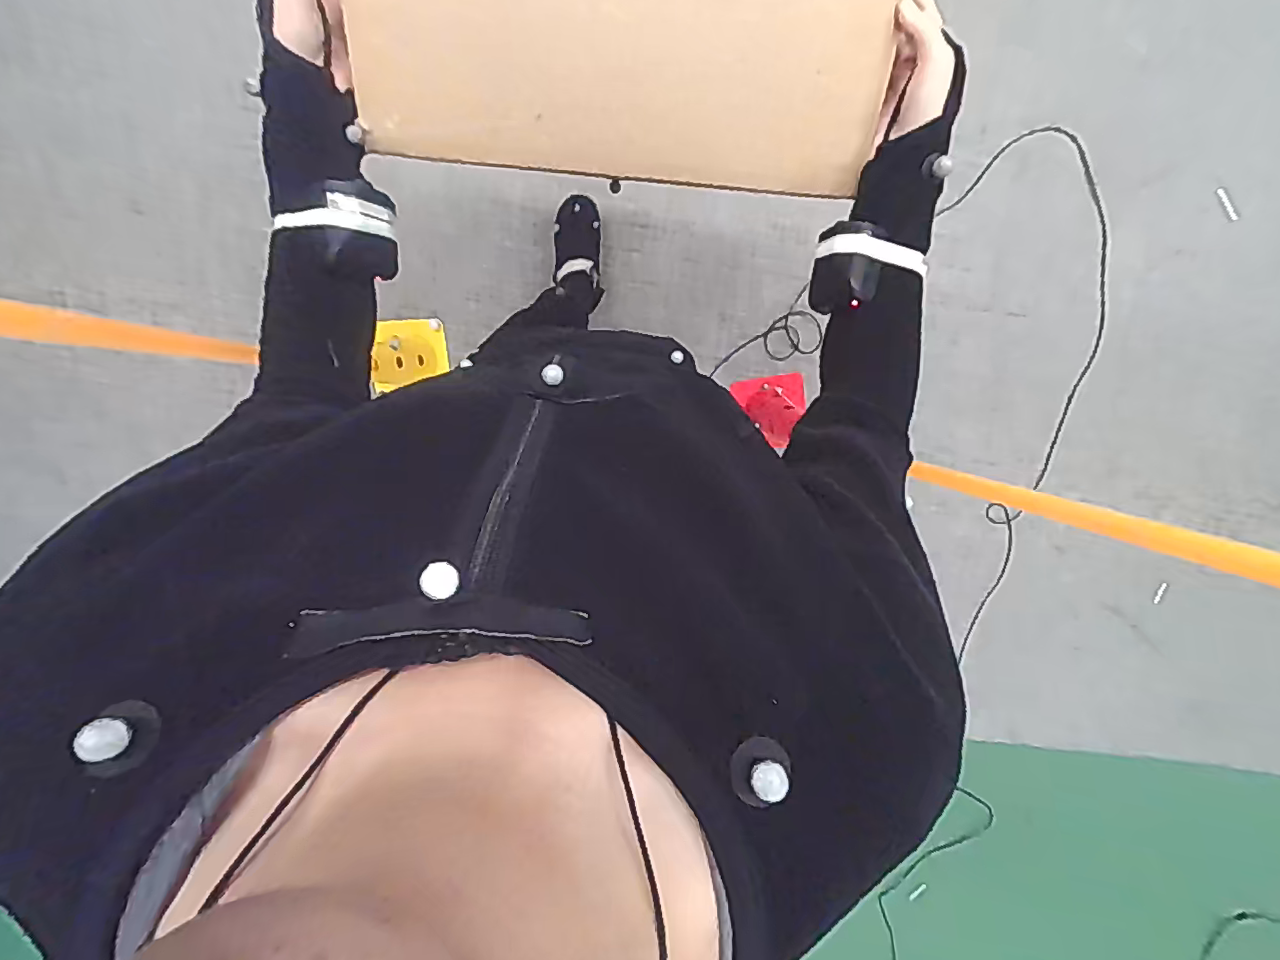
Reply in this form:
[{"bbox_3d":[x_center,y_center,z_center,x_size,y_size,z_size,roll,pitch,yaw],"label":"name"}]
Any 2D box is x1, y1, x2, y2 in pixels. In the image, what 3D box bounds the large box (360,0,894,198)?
[{"bbox_3d":[-0.009,-0.462,0.511,0.408,0.320,0.320,2,119,-5],"label":"large box"}]
